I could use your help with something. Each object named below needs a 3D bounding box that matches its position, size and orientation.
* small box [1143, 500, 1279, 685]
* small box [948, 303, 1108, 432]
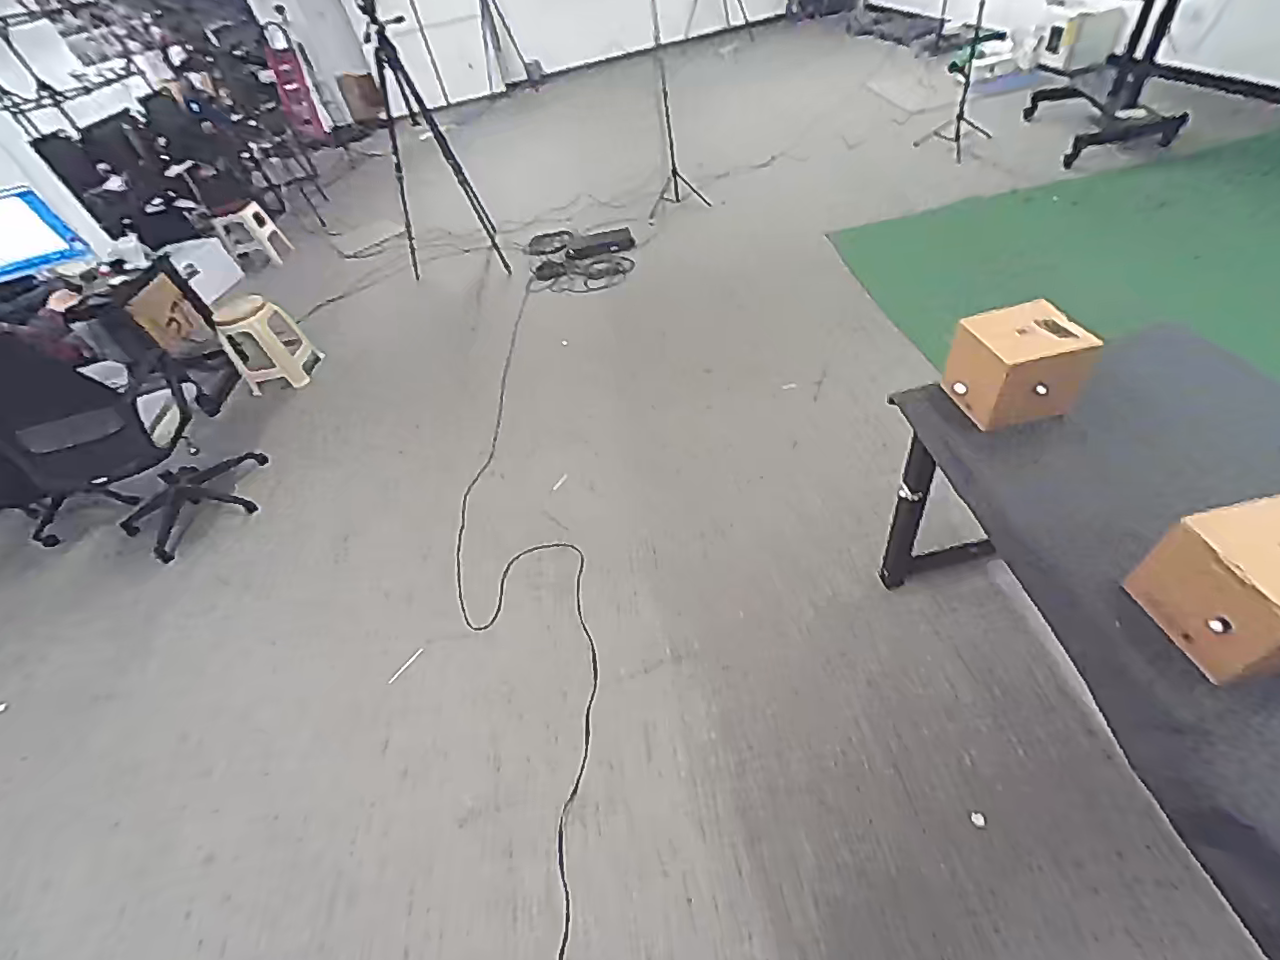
[{"bbox_3d":[0.820,0.147,0.704,0.179,0.176,0.168,-12,46,0],"label":"small box"},{"bbox_3d":[0.750,-0.219,1.071,0.179,0.176,0.168,-13,45,2],"label":"small box"}]
